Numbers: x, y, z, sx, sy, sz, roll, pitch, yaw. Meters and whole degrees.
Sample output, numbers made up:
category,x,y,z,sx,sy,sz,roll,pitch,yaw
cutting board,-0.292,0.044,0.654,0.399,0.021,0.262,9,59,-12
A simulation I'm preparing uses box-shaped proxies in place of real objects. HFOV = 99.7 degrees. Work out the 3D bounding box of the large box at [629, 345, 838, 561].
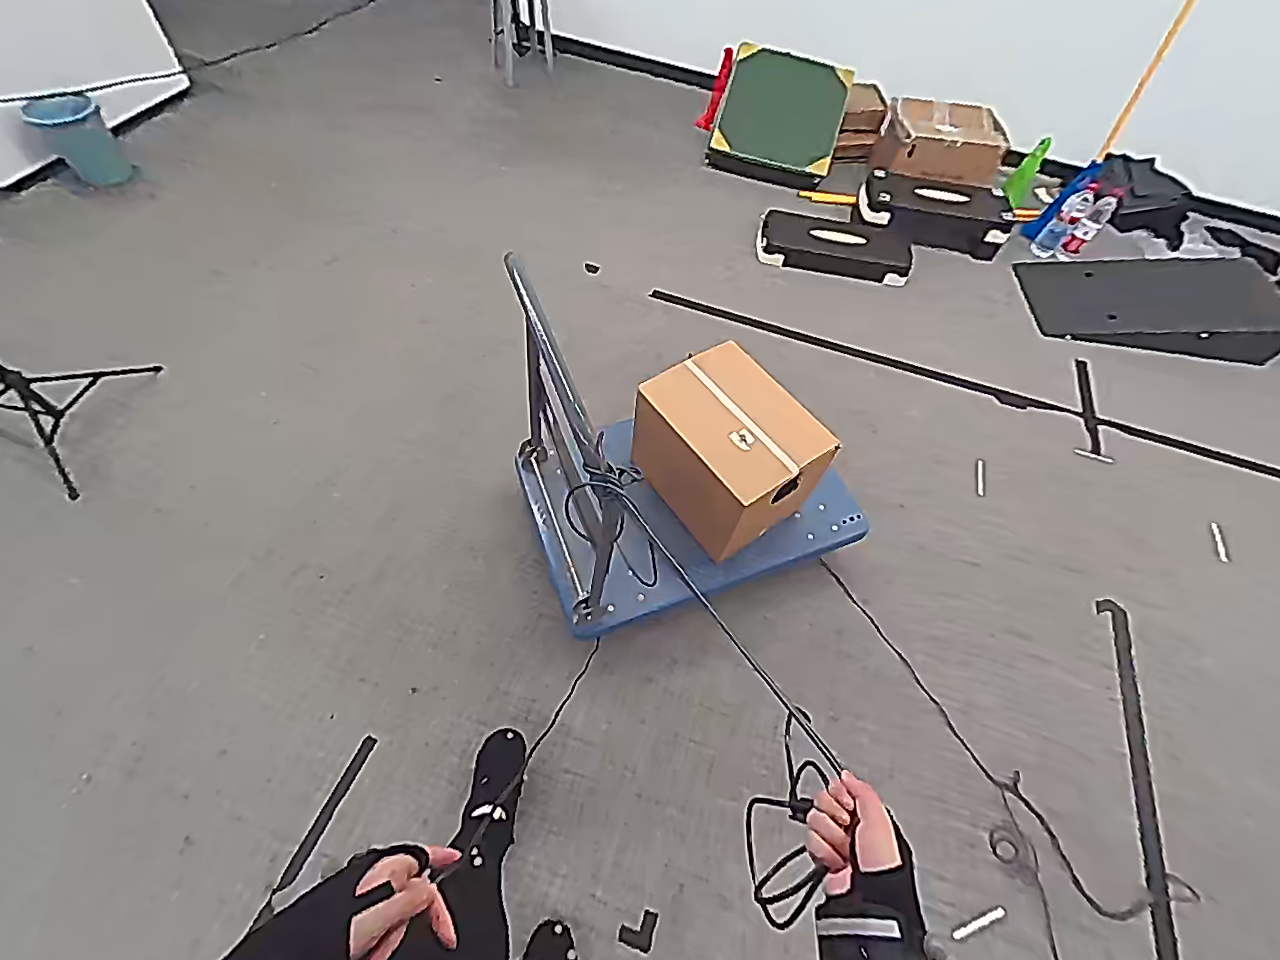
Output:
category,x,y,z,sx,sy,sz,roll,pitch,yaw
large box,0.215,-0.070,1.411,0.320,0.320,0.408,-30,66,-21
